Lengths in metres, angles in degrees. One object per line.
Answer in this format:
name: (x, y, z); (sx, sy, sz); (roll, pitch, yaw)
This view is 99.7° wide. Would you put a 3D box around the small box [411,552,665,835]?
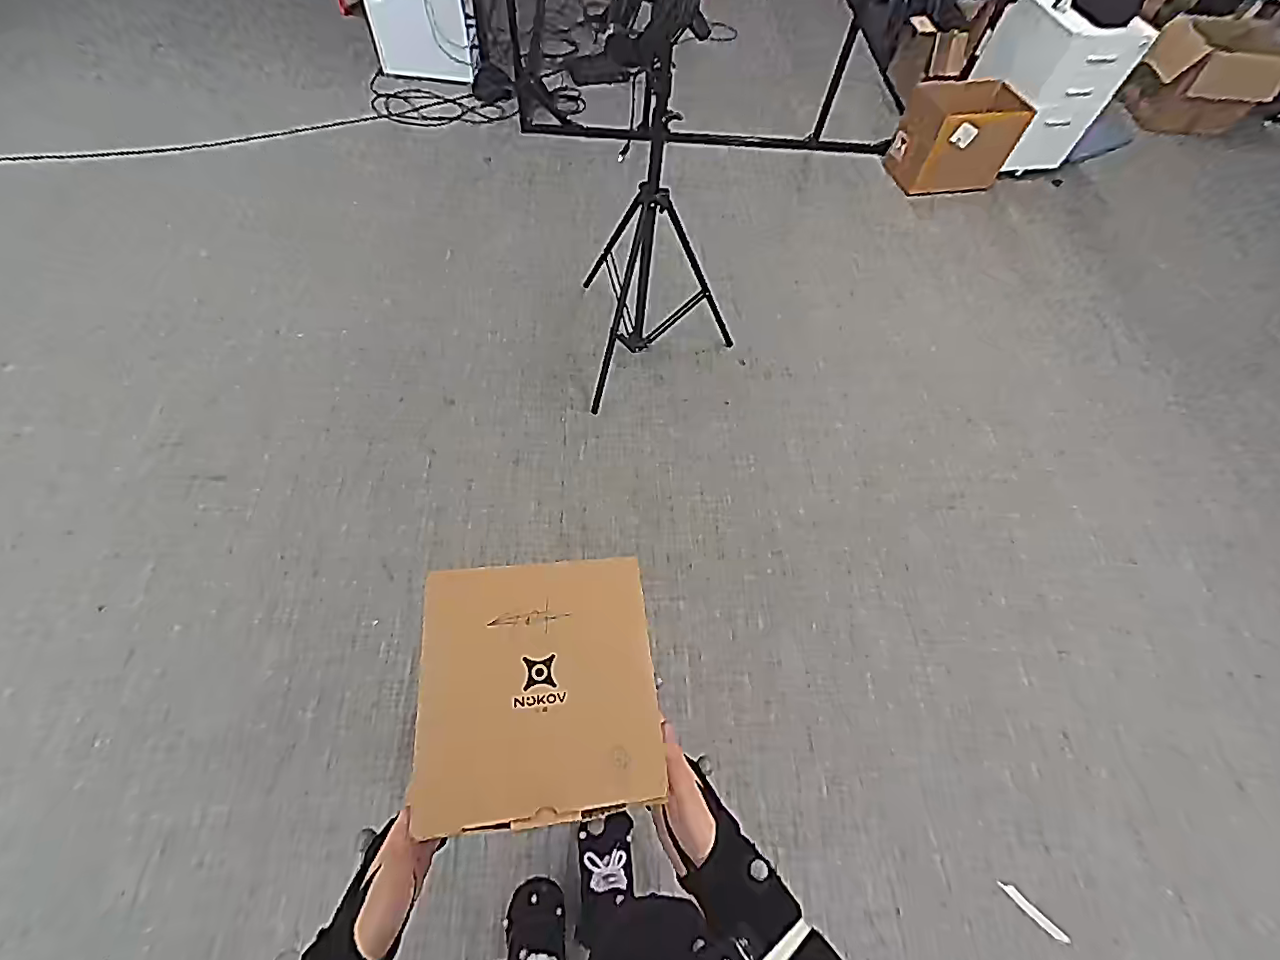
small box: (-0.084, 0.178, 0.454); (0.168, 0.176, 0.179); (-3, 60, -12)
